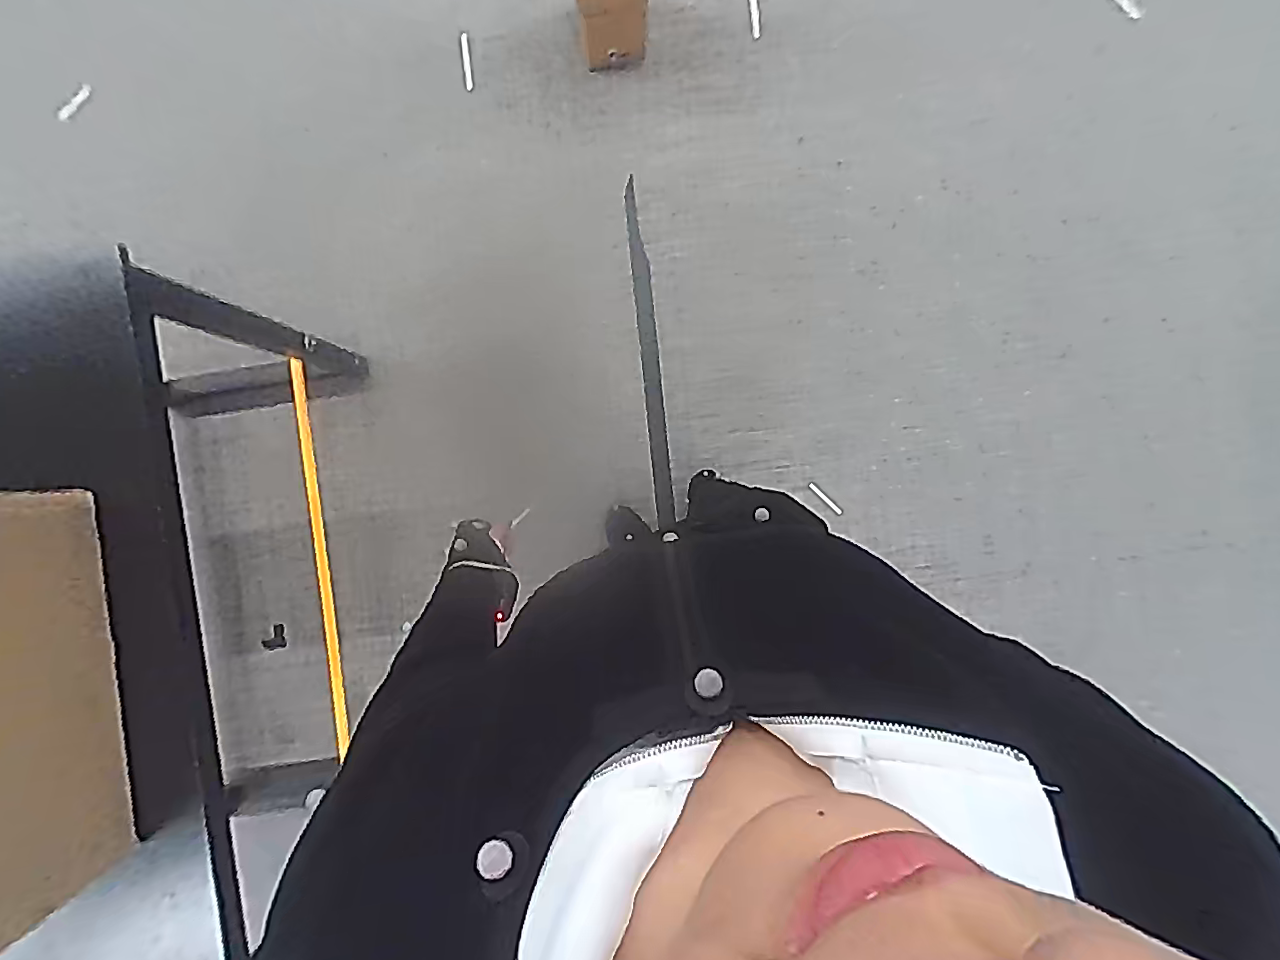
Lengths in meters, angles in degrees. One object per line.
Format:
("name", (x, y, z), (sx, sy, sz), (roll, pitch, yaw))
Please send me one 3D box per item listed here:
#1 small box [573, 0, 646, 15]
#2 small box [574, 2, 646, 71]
("small box", (-0.082, -1.215, 1.236), (0.179, 0.176, 0.168), (-8, 91, 0))
("small box", (-0.081, -1.217, 1.400), (0.168, 0.176, 0.179), (-12, 92, 1))
